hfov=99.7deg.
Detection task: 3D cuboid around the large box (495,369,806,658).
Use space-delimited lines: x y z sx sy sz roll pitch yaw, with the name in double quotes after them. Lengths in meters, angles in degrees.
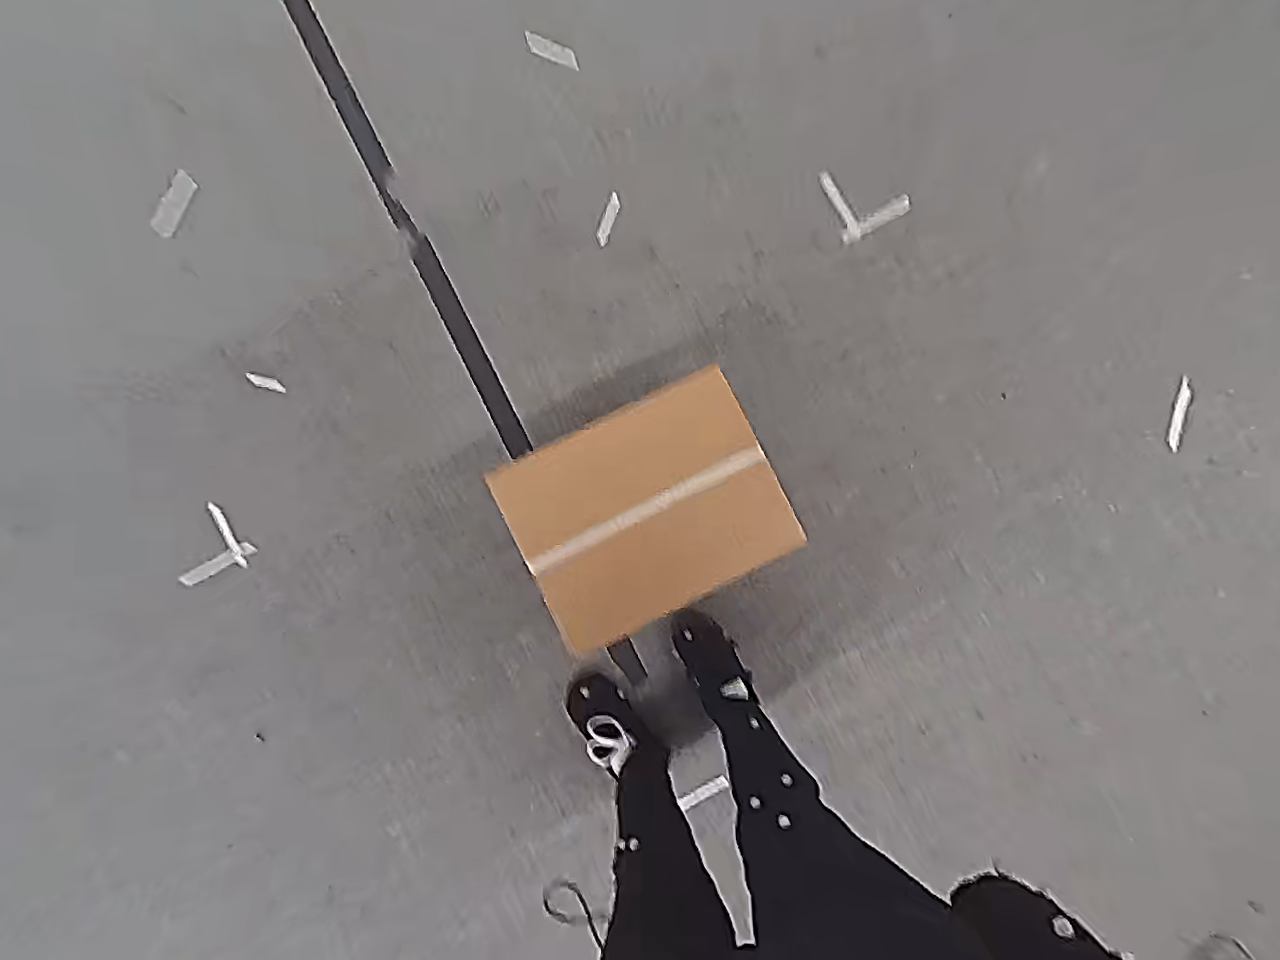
0.012 0.058 0.985 0.408 0.320 0.320 -27 89 -3 "large box"
